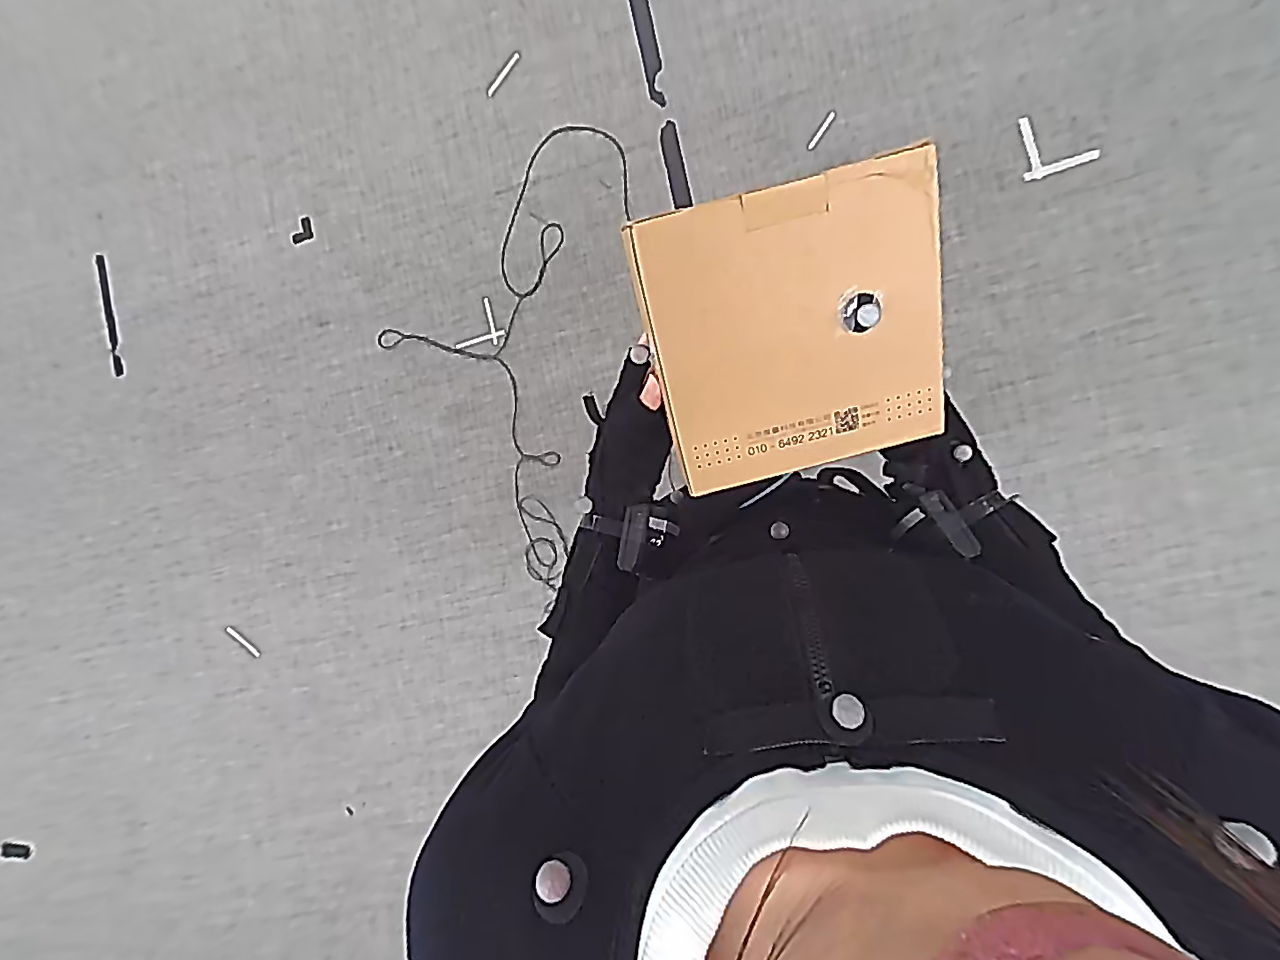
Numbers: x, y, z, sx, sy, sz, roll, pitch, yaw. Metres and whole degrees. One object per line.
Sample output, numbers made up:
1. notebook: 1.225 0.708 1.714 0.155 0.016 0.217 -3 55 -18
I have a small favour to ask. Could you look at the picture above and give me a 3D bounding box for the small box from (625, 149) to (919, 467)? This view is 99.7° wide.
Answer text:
1. small box: 0.090 -0.121 0.407 0.168 0.179 0.176 -14 114 3
